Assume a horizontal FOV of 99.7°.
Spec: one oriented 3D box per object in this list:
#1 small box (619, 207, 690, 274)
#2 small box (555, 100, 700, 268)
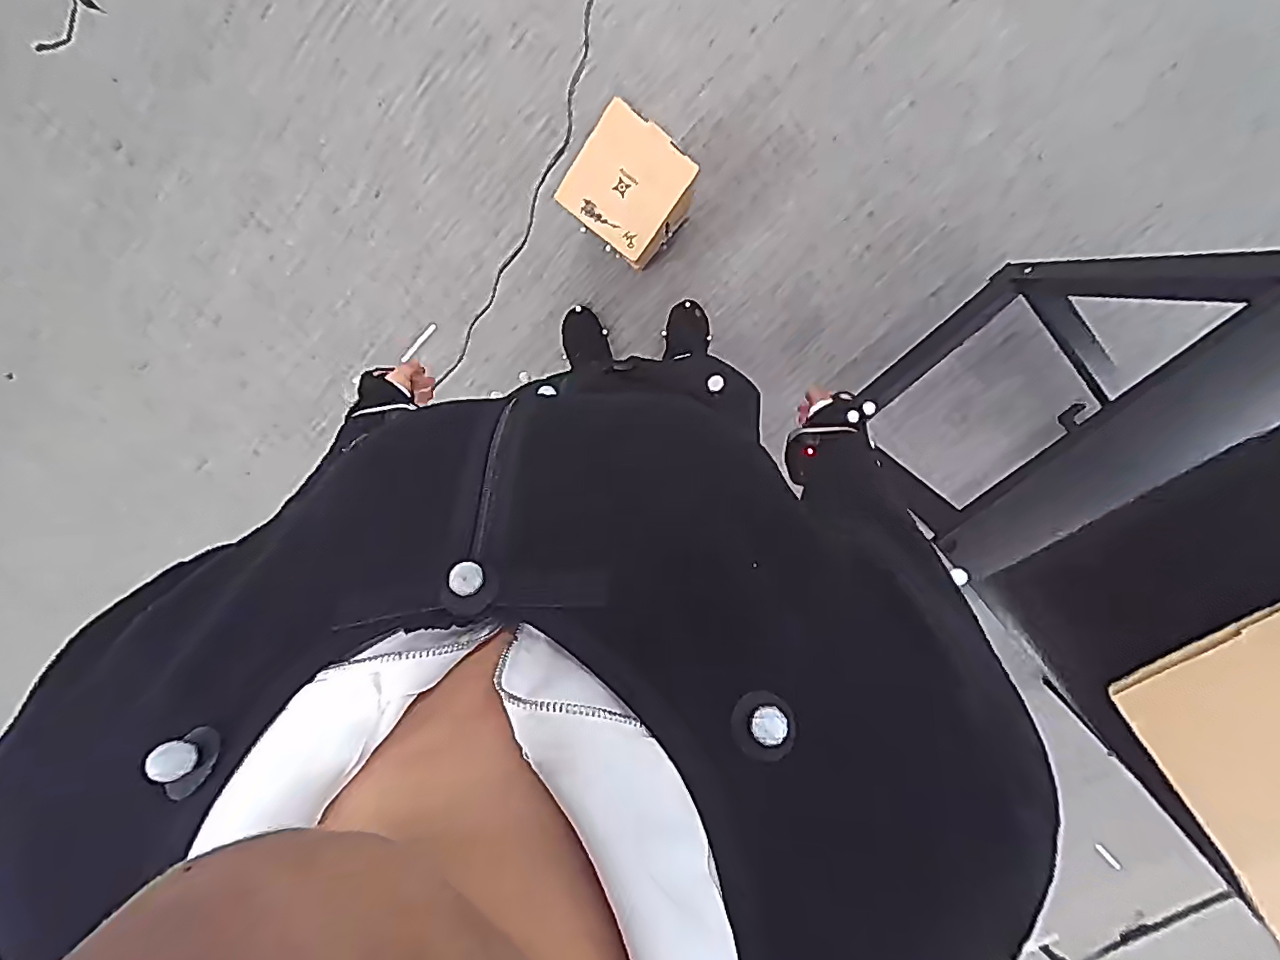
[{"bbox_3d":[-0.007,-0.598,1.236,0.168,0.176,0.179,41,107,-11],"label":"small box"},{"bbox_3d":[-0.020,-0.490,0.927,0.168,0.176,0.179,36,106,-9],"label":"small box"}]
